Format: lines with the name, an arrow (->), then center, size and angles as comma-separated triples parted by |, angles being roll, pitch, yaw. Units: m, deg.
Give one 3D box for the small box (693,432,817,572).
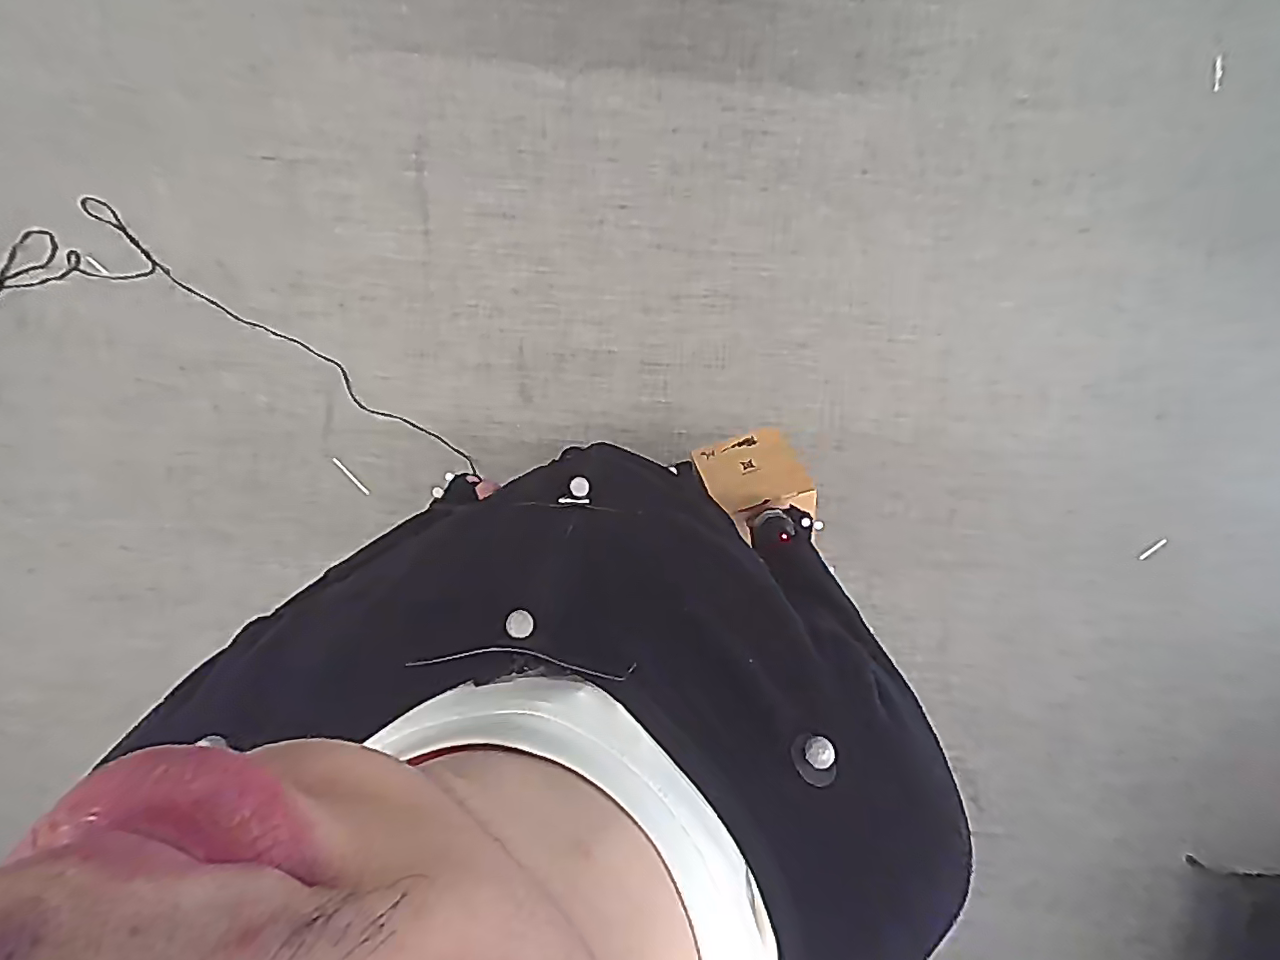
small box -> 0.208, 0.047, 0.982 | 0.168, 0.179, 0.176 | -17, 133, -2
